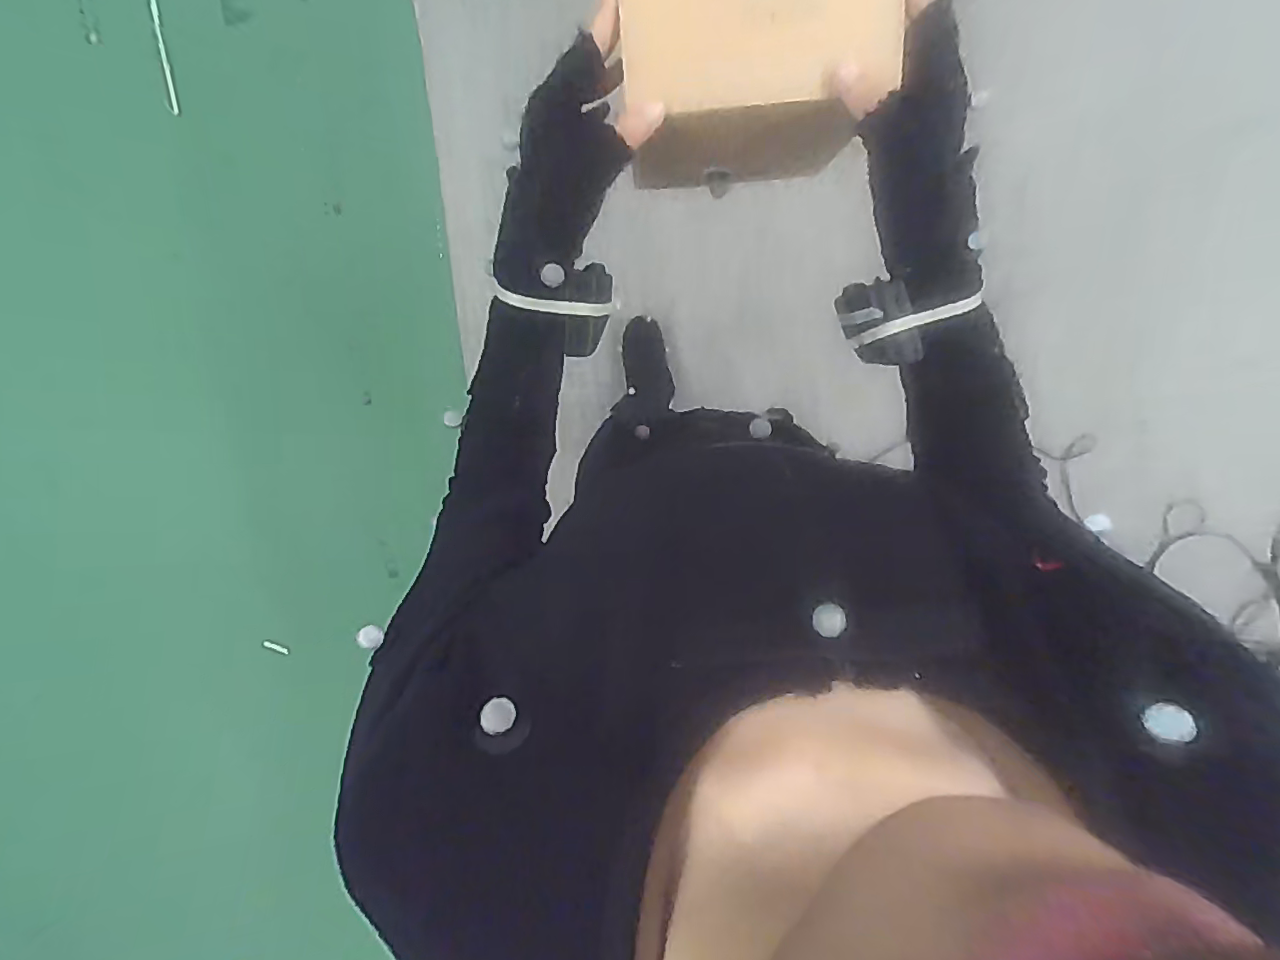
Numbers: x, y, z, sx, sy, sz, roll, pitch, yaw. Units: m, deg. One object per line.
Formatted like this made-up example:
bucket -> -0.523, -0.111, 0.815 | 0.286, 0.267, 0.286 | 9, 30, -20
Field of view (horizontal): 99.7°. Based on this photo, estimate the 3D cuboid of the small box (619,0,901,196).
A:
small box -> 0.069, -0.326, 0.386 | 0.168, 0.176, 0.179 | -4, 103, 3
